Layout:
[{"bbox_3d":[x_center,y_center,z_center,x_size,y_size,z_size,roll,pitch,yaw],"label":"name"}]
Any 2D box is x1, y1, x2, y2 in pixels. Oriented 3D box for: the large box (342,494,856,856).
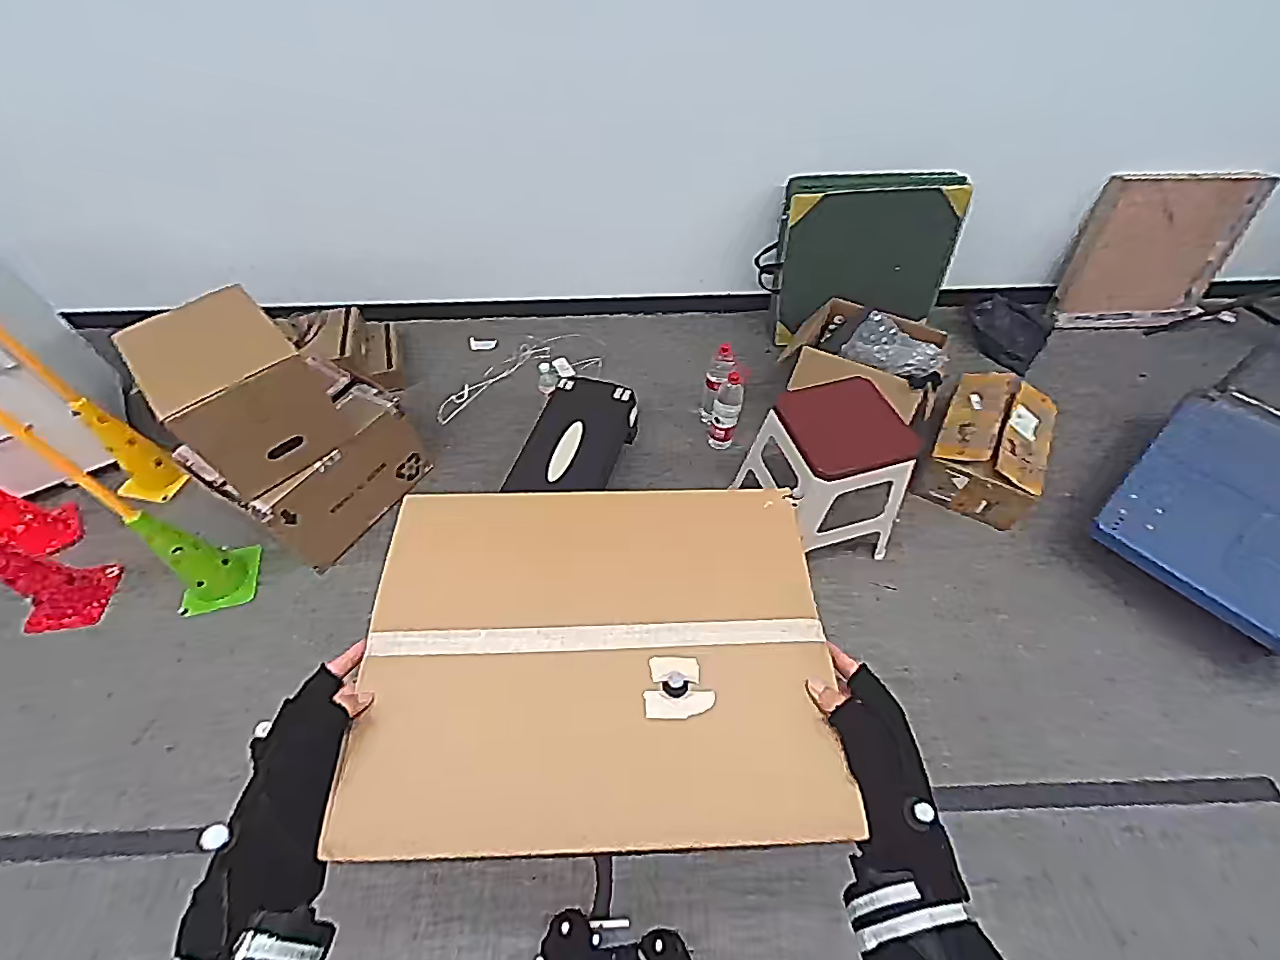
[{"bbox_3d":[-0.038,0.230,0.618,0.408,0.320,0.320,-1,55,-2],"label":"large box"}]
